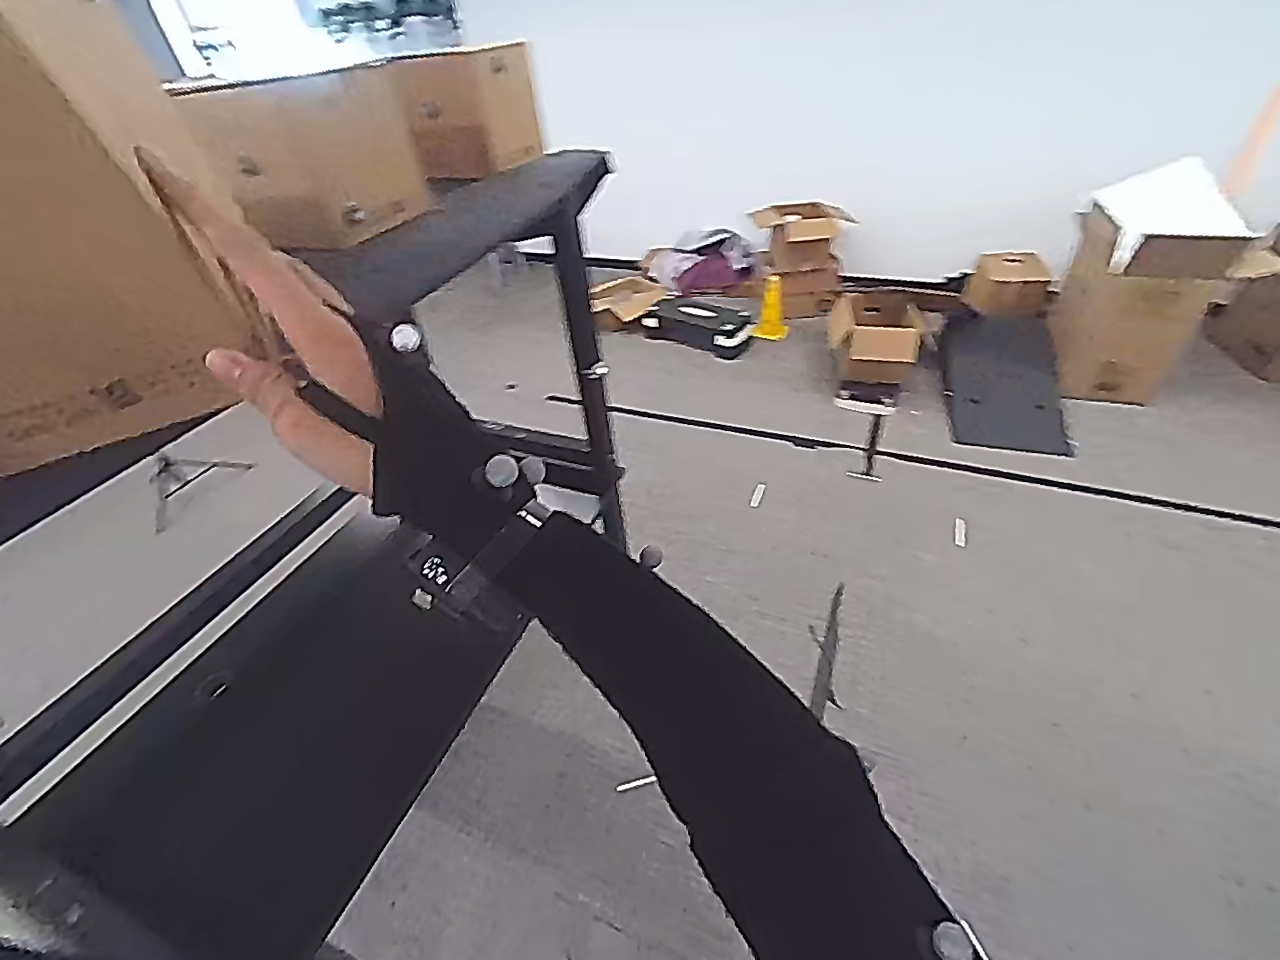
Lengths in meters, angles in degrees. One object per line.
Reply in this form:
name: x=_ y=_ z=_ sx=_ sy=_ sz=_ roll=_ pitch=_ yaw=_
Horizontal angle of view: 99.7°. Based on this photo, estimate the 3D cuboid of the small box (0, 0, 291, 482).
small box: x=-0.283 y=-0.116 z=0.230 sx=0.168 sy=0.176 sz=0.179 roll=-24 pitch=61 yaw=-17

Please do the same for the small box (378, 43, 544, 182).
small box: x=-0.288 y=-0.612 z=0.907 sx=0.179 sy=0.176 sz=0.168 roll=11 pitch=45 yaw=21

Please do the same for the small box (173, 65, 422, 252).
small box: x=-0.411 y=-0.395 z=0.675 sx=0.179 sy=0.176 sz=0.168 roll=11 pitch=44 yaw=22
